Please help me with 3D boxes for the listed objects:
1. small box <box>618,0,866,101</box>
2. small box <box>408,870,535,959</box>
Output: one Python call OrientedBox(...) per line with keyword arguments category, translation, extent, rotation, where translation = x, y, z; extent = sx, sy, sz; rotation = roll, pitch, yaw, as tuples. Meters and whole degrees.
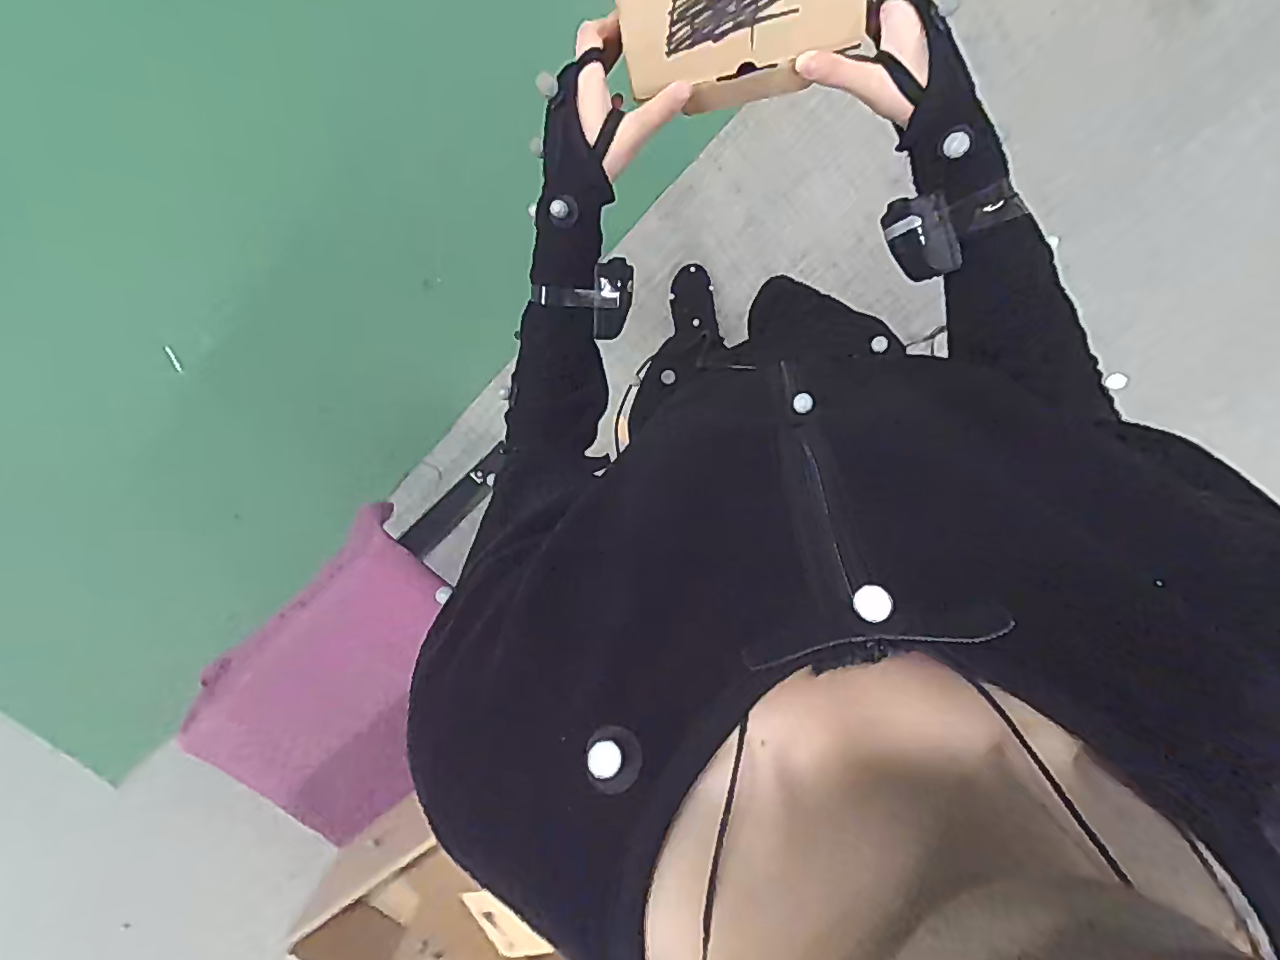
OrientedBox(category="small box", translation=(0.060, -0.405, 0.393), extent=(0.168, 0.176, 0.179), rotation=(-9, 129, 7))
OrientedBox(category="small box", translation=(-0.311, 0.867, 0.988), extent=(0.179, 0.176, 0.168), rotation=(-41, 102, 15))
